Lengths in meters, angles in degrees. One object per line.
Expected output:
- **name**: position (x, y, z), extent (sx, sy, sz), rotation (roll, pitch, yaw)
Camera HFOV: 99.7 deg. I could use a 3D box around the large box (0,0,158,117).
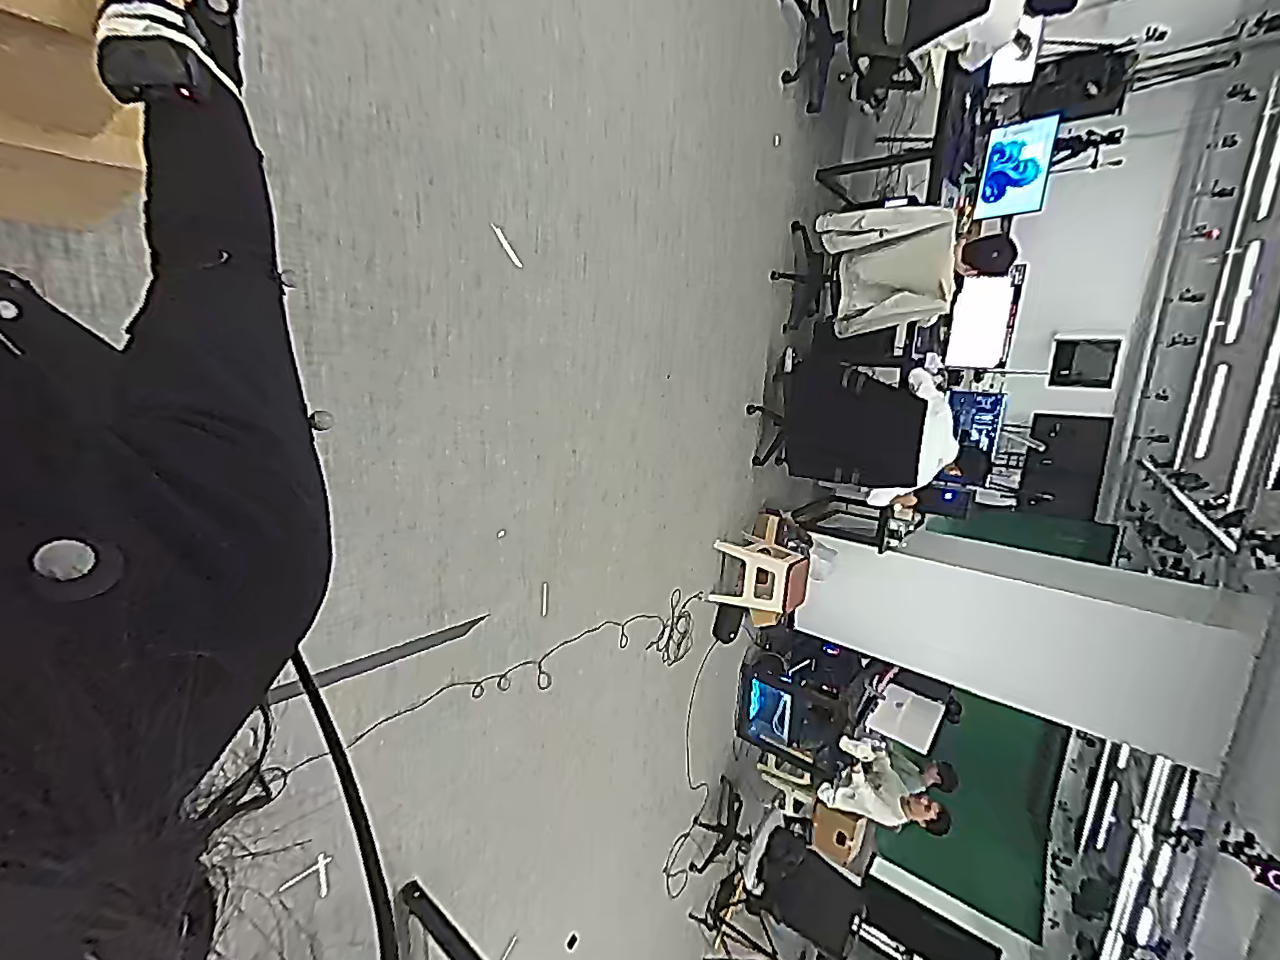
- **large box**: position (-0.633, -0.500, 0.345), extent (0.408, 0.320, 0.320), rotation (-15, 113, -52)
